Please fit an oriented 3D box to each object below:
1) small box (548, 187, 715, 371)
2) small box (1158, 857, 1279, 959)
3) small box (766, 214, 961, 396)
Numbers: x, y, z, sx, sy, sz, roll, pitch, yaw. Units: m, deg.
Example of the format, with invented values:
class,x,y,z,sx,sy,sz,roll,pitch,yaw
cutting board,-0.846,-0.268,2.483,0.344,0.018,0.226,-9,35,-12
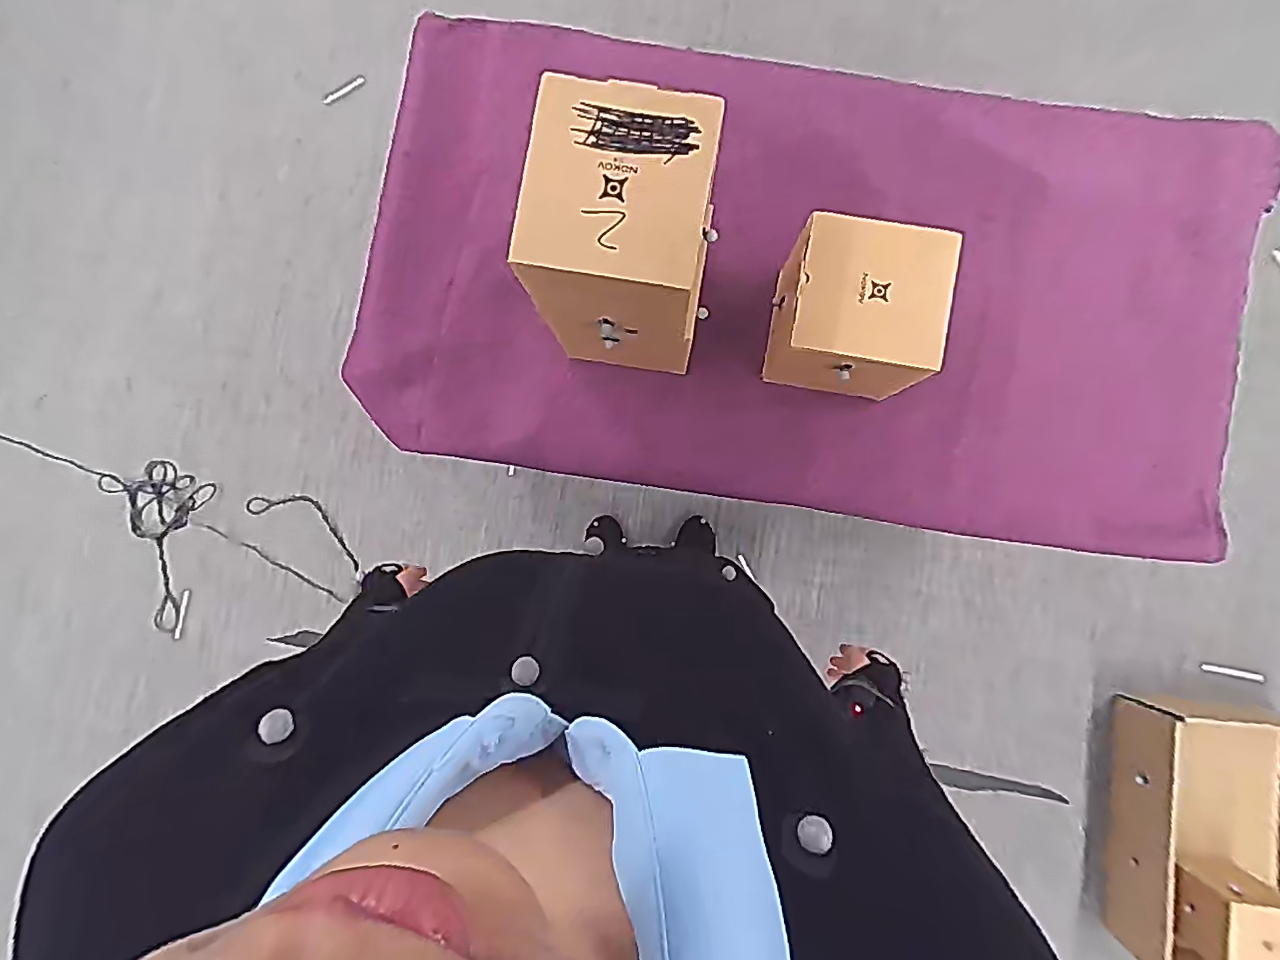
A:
class,x,y,z,sx,sy,sz,roll,pitch,yaw
small box,-0.007,-0.252,0.717,0.179,0.176,0.168,10,88,2
small box,1.378,1.026,1.268,0.179,0.176,0.168,6,88,2
small box,0.276,-0.213,0.704,0.179,0.176,0.168,10,87,4
